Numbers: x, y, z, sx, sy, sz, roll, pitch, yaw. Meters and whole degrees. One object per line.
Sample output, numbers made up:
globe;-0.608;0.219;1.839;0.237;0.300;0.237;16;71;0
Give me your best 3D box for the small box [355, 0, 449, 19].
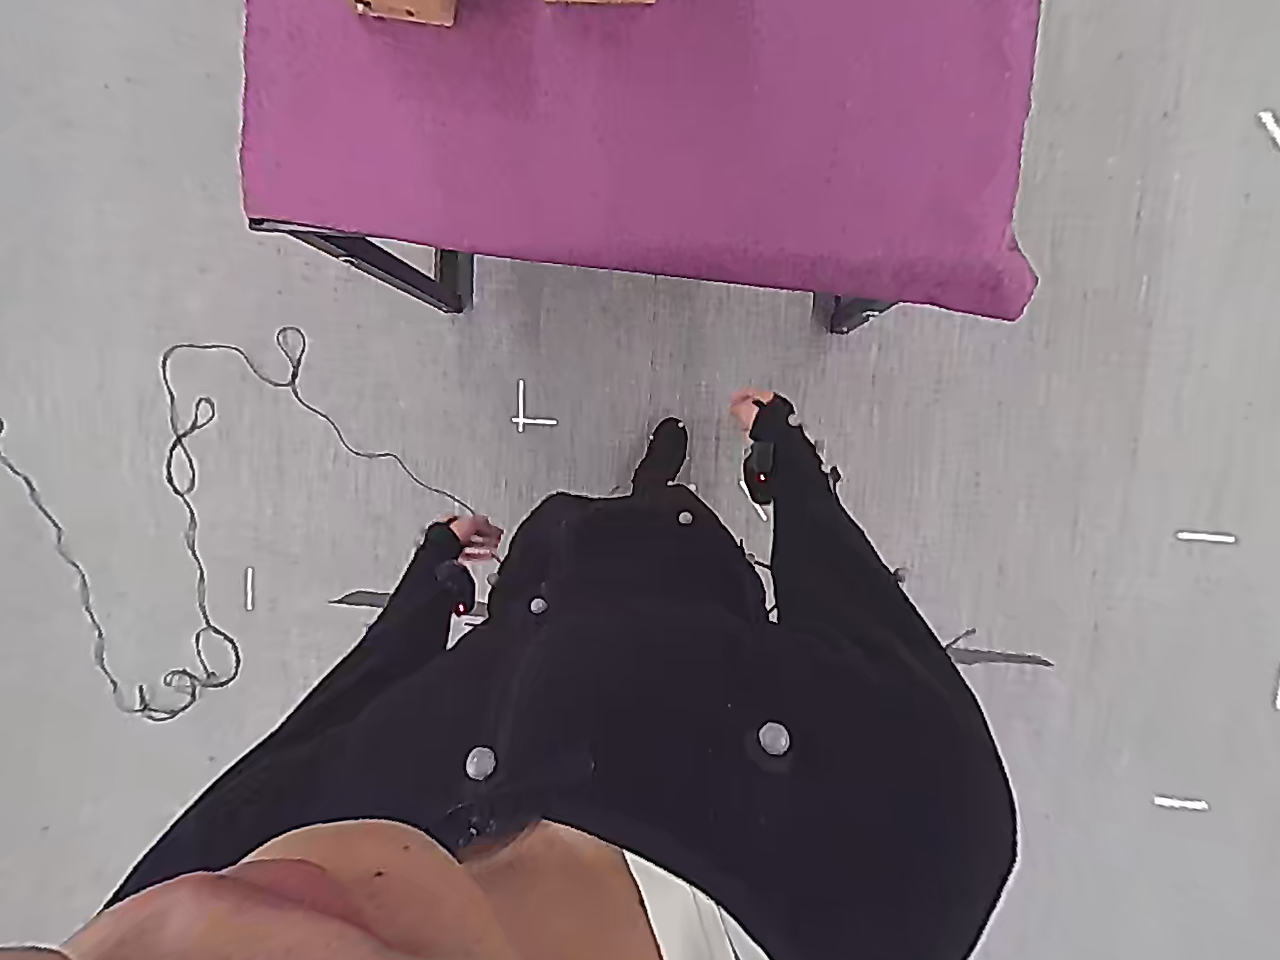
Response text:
small box;-0.367;-0.798;0.753;0.168;0.176;0.179;10;96;3
